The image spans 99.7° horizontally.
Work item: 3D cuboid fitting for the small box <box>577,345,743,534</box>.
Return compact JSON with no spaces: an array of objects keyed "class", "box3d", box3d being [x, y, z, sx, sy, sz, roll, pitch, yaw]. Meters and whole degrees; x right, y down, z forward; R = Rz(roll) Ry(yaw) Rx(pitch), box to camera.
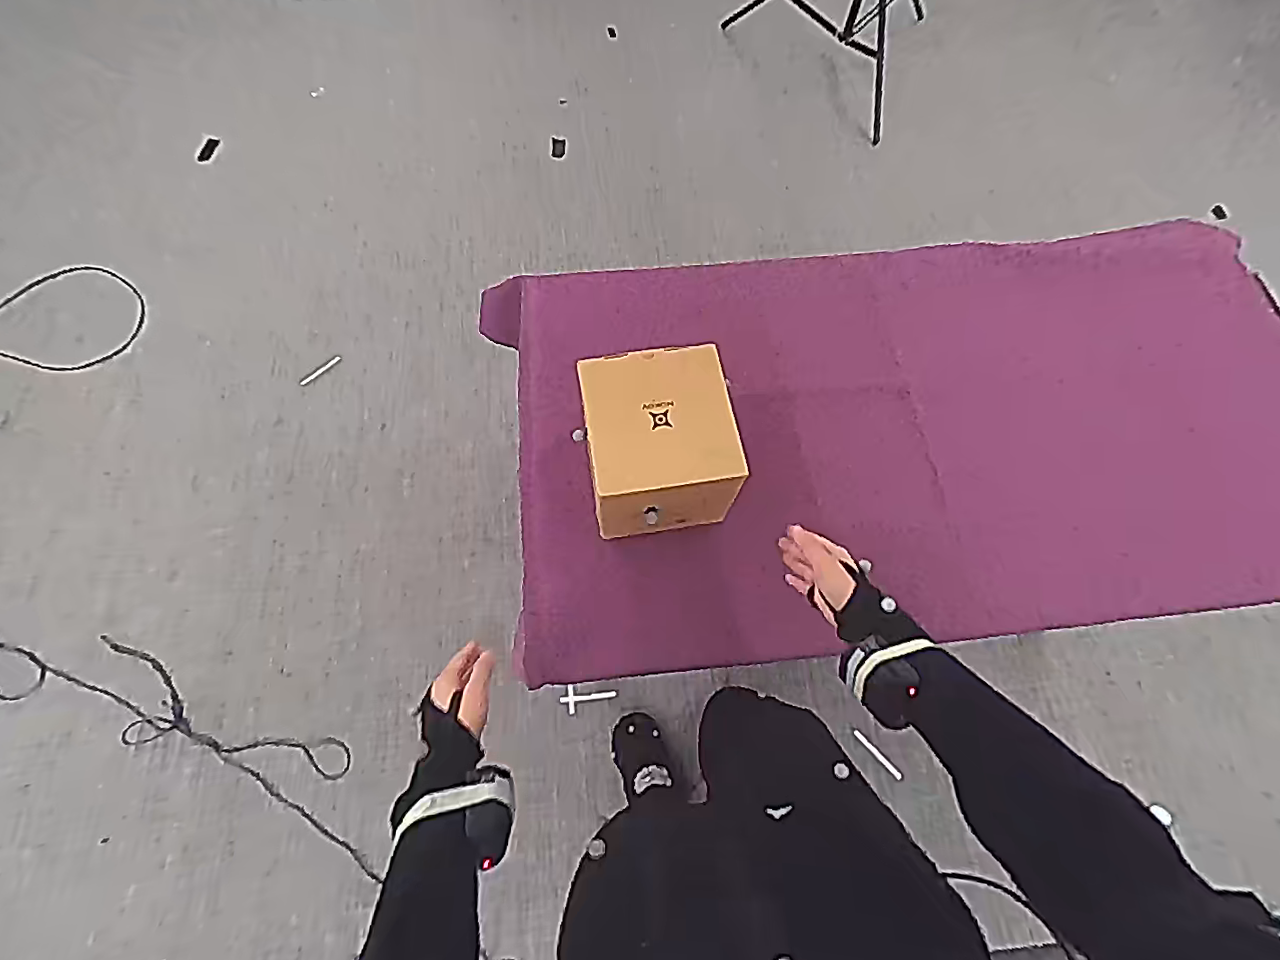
[{"class":"small box","box3d":[0.019,-0.040,0.679,0.168,0.176,0.179,-9,68,-5]}]
